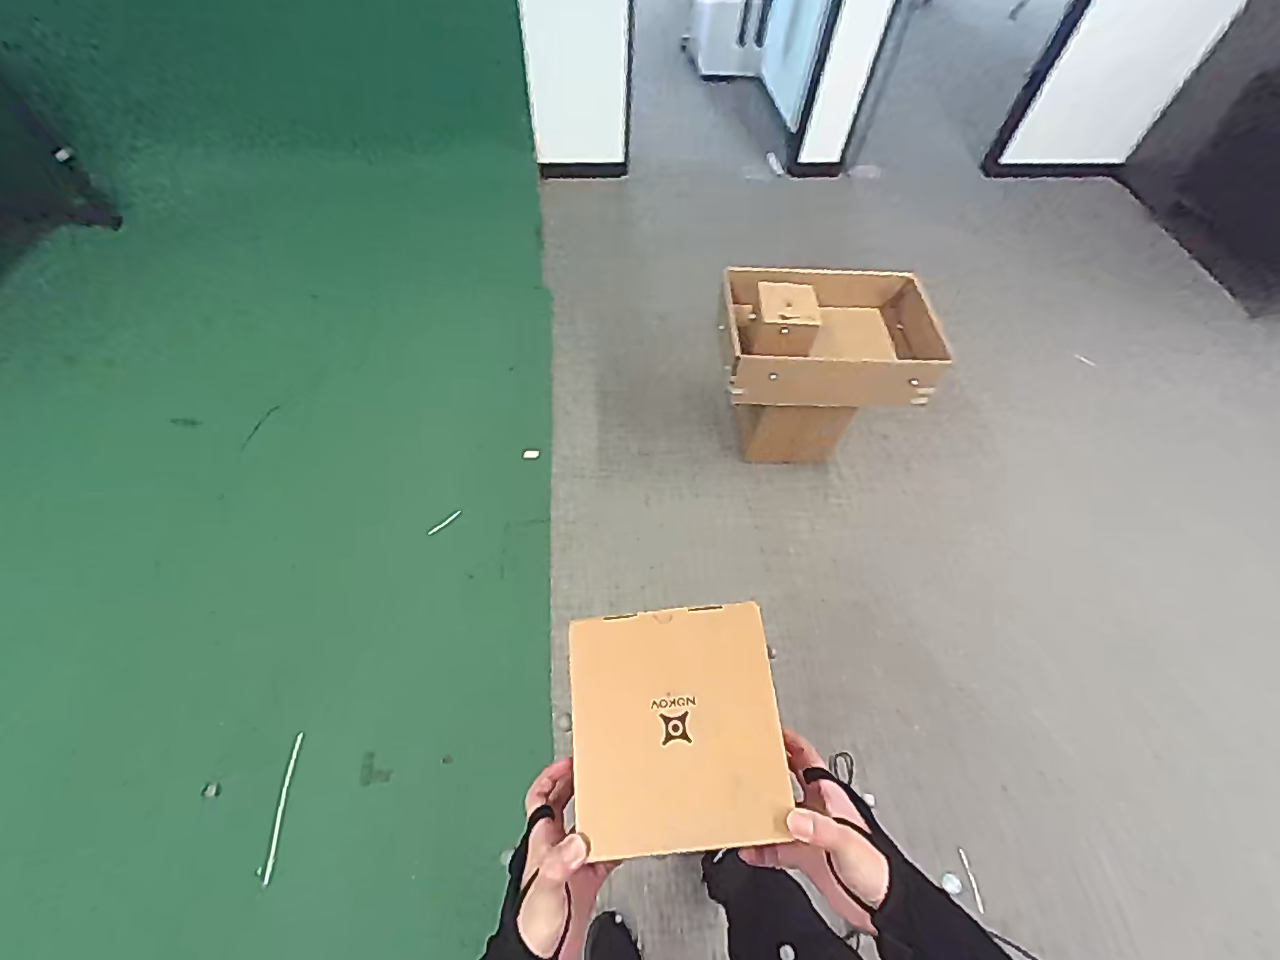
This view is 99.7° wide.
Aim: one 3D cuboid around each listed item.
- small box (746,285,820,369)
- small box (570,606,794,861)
[{"bbox_3d":[0.419,-0.456,1.616,0.168,0.176,0.179,2,57,-1],"label":"small box"},{"bbox_3d":[0.031,0.226,0.501,0.168,0.176,0.179,-5,64,0],"label":"small box"}]
